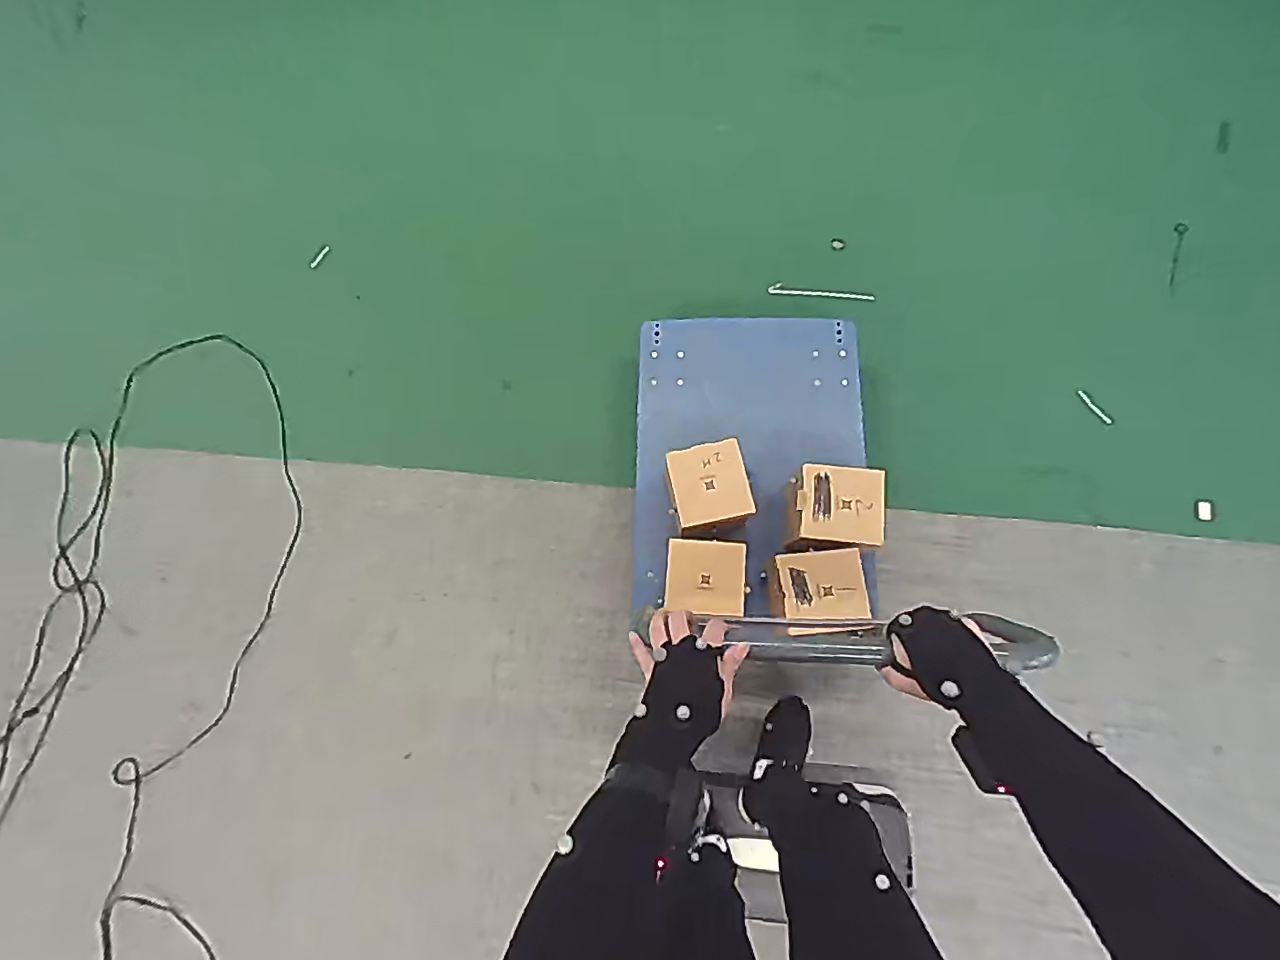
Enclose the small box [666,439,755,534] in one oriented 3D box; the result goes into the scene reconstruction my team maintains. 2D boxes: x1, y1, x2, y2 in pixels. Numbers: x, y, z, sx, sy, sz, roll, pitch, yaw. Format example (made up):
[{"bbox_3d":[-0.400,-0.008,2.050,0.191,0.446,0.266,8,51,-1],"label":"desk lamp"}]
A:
[{"bbox_3d":[0.158,0.024,1.256,0.168,0.176,0.179,-11,76,0],"label":"small box"}]
